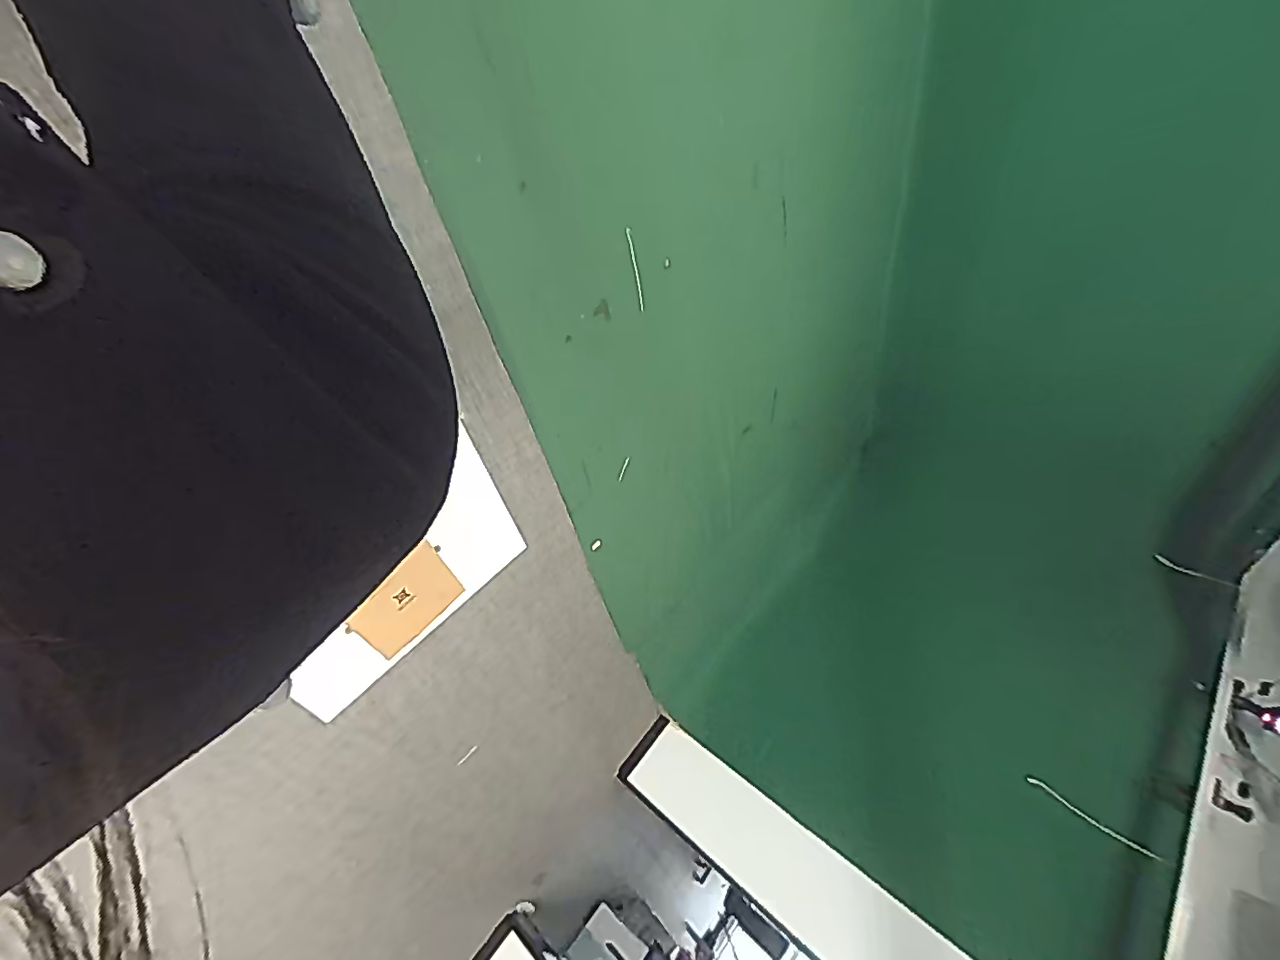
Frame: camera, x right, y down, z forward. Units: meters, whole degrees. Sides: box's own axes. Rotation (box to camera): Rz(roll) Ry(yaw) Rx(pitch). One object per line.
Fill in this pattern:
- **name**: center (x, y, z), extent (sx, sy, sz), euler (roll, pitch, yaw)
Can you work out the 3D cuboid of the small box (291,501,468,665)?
- **small box**: center (-0.427, 0.163, 0.896), extent (0.168, 0.176, 0.179), euler (-46, 139, -25)
